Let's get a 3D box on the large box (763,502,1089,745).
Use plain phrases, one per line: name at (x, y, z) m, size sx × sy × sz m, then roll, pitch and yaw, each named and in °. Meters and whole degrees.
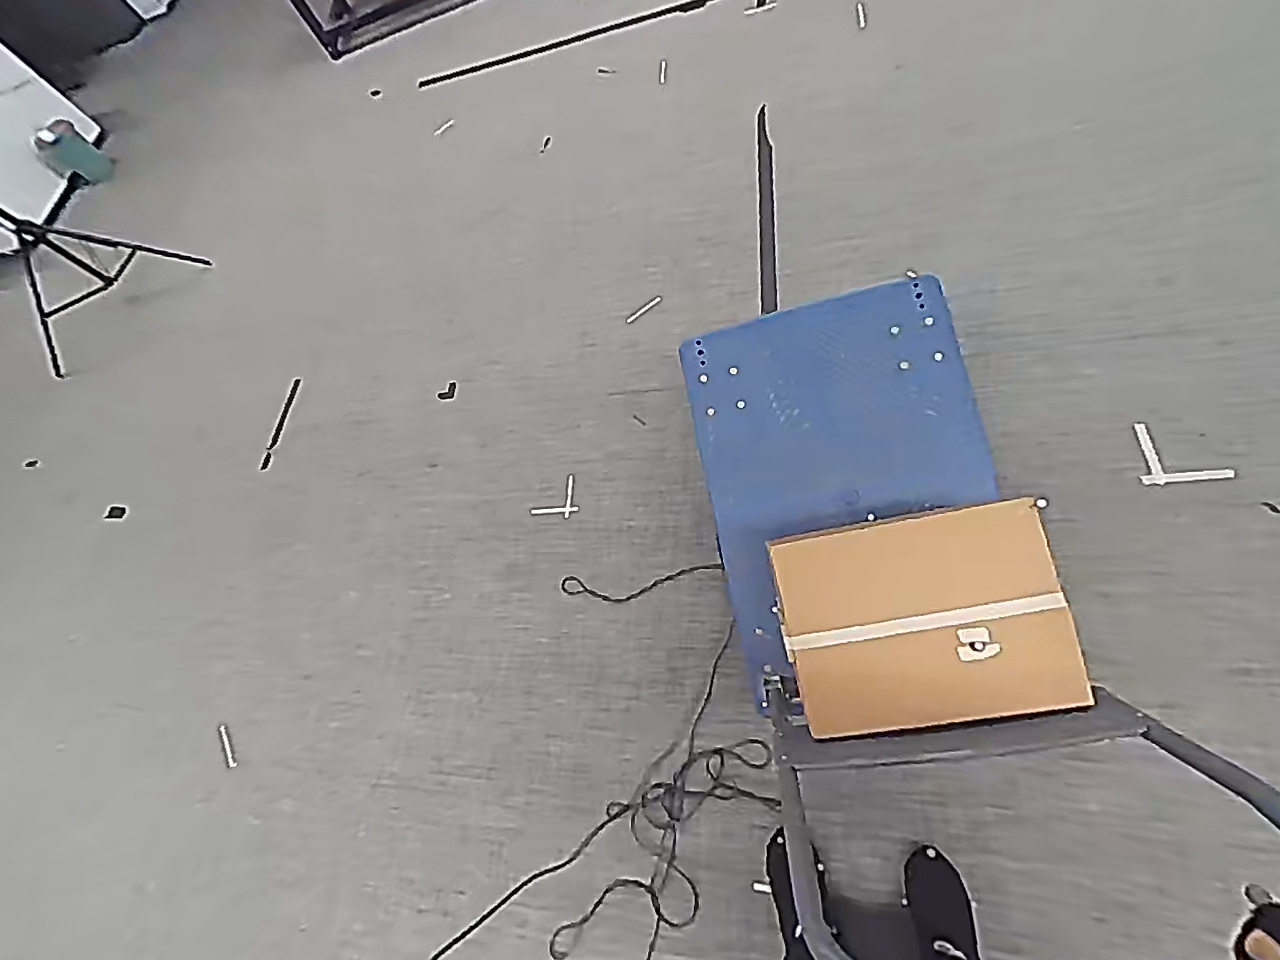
large box at (0.460, 0.239, 0.981) m, size 0.408 × 0.320 × 0.320 m, roll -13°, pitch 83°, yaw 10°
